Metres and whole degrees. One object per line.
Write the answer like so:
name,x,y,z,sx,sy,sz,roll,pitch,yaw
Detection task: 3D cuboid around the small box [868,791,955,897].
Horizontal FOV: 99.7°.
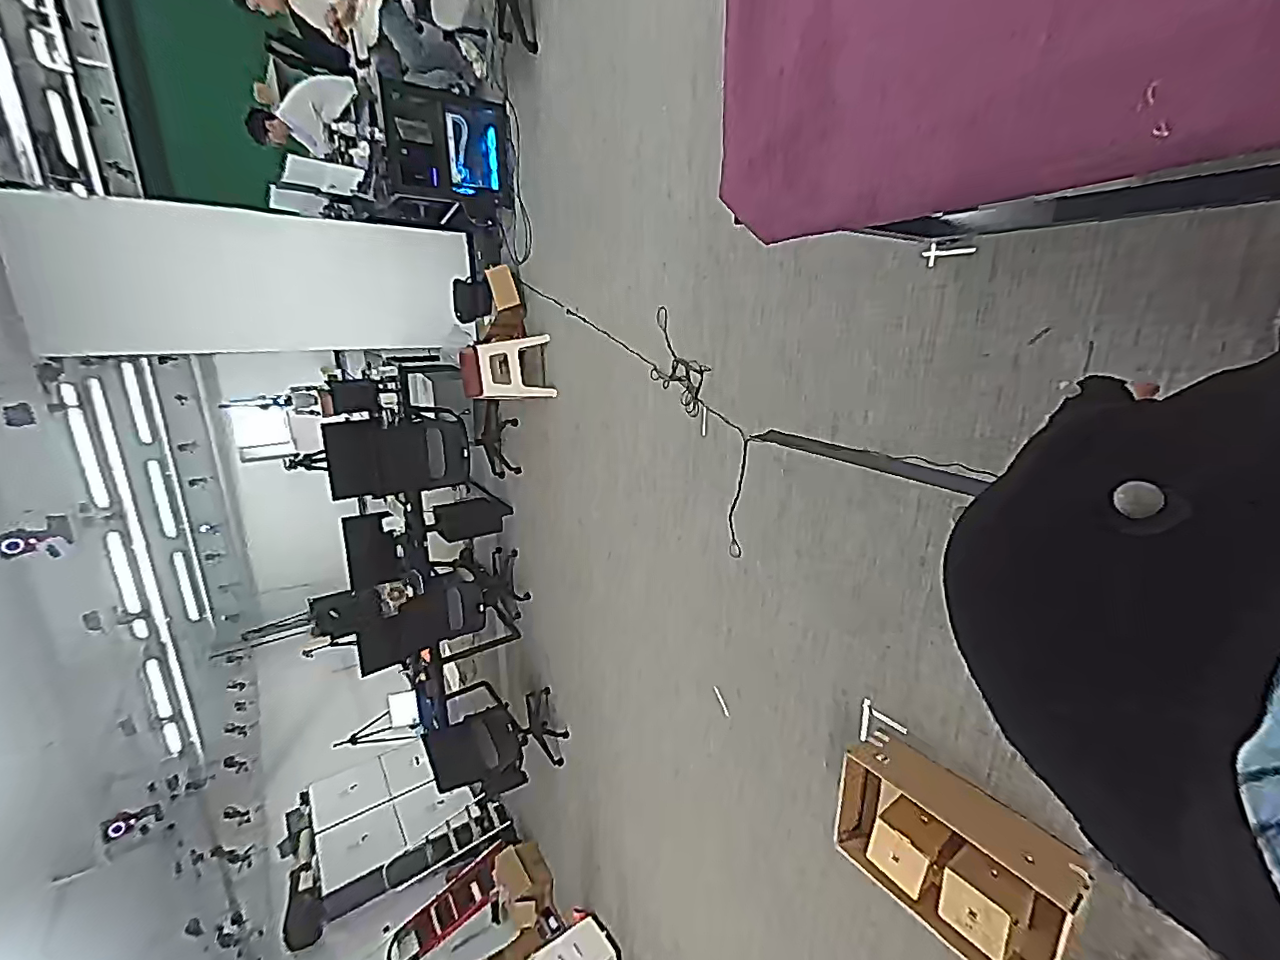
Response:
small box,0.836,1.114,1.664,0.168,0.176,0.179,28,122,48

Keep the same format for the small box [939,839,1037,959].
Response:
small box,0.959,1.146,1.487,0.168,0.176,0.179,20,116,54
